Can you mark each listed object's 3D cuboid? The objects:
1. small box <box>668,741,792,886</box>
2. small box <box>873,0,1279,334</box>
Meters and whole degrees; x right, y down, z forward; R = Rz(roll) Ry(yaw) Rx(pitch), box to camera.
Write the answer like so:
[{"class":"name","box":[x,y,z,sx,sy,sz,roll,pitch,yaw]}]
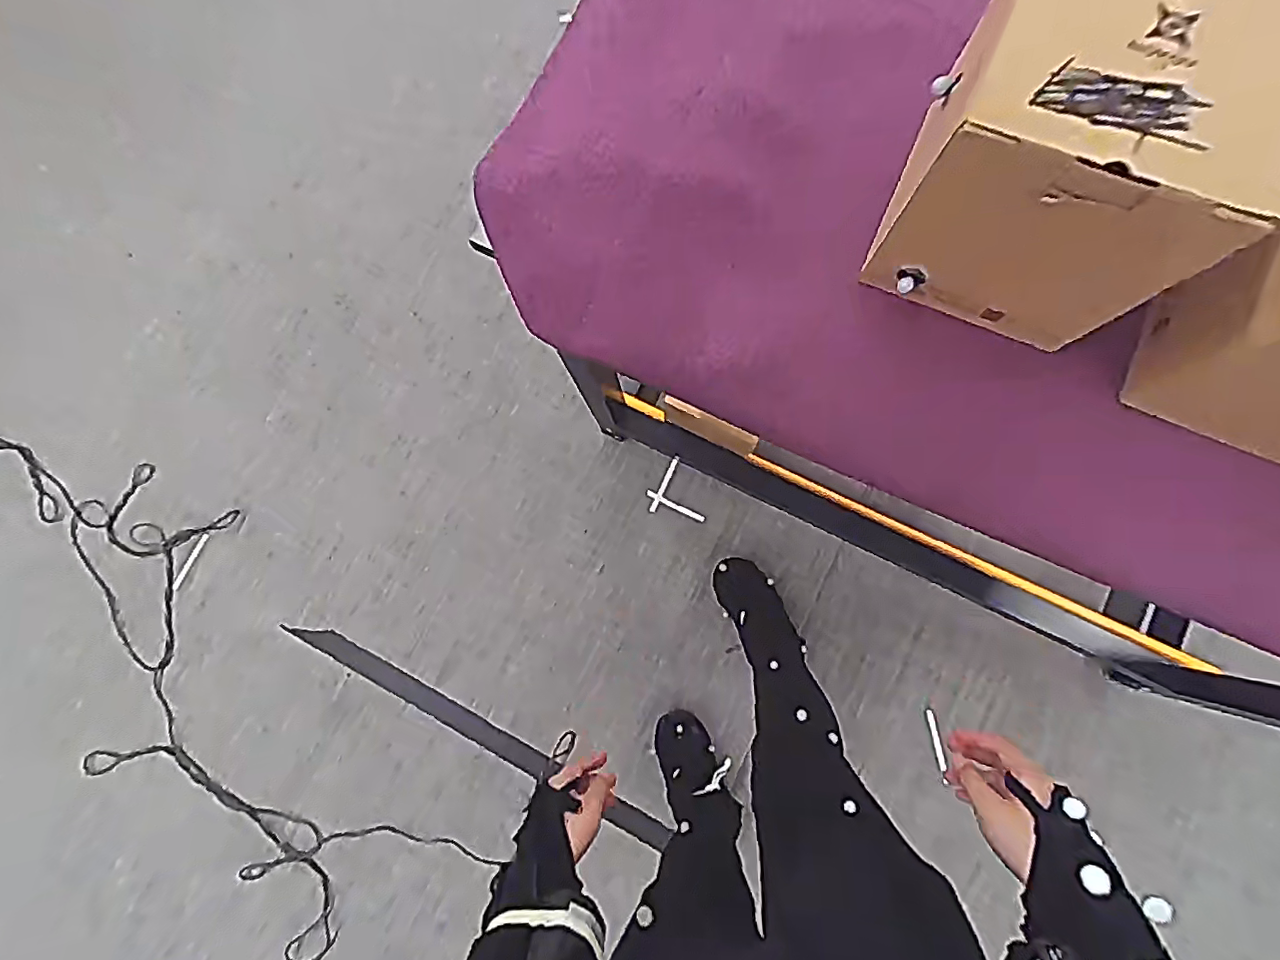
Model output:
[{"class":"small box","box":[0.155,0.598,0.983,0.179,0.176,0.168,-11,78,-1]},{"class":"small box","box":[0.287,-0.229,0.372,0.168,0.176,0.179,24,82,6]}]
